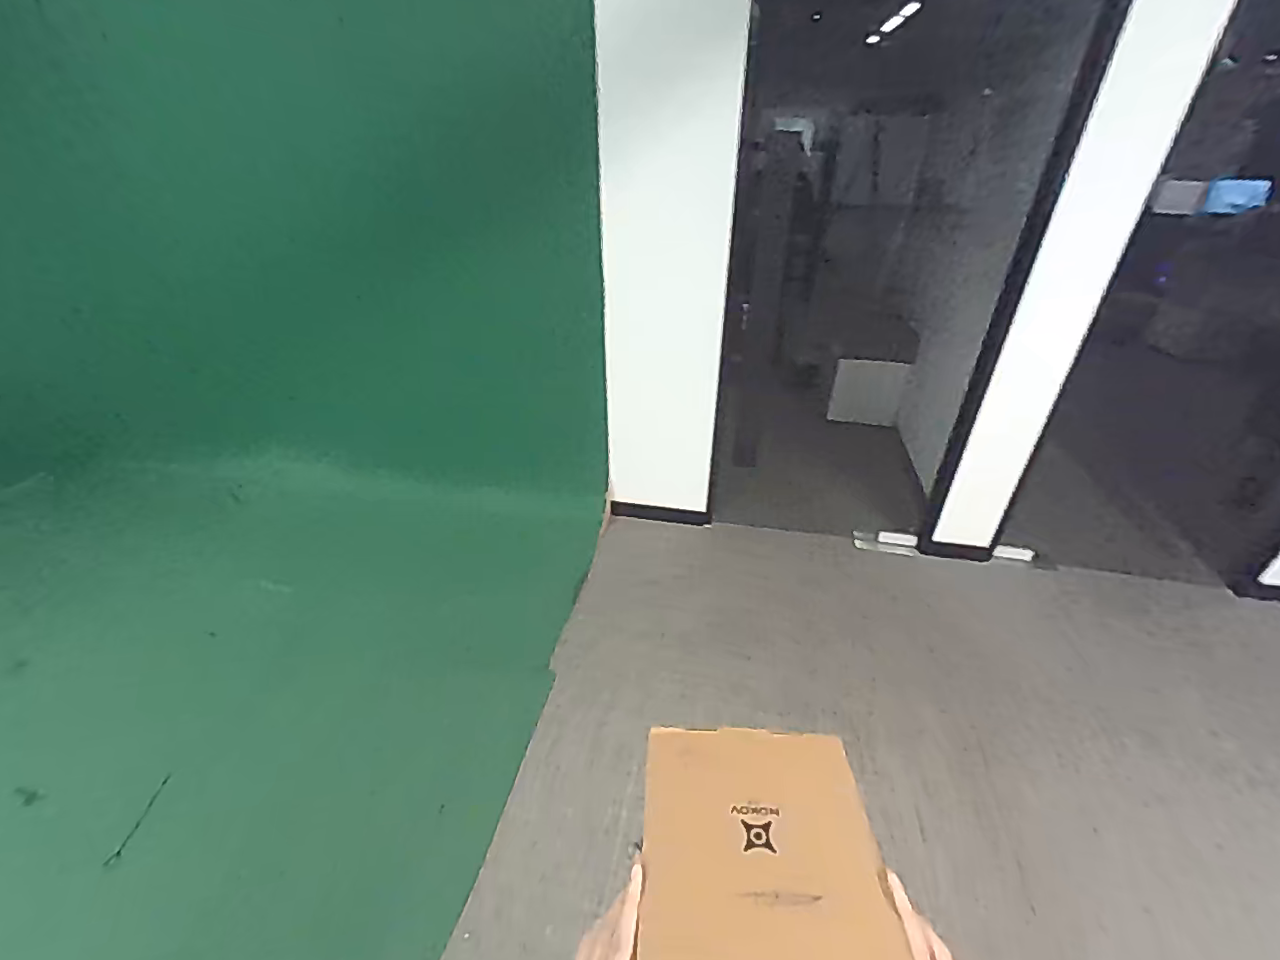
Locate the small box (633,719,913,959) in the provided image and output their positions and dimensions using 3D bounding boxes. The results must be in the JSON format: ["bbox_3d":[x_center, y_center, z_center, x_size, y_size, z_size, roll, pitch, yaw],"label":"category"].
[{"bbox_3d":[0.081,0.319,0.417,0.168,0.176,0.179,2,25,3],"label":"small box"}]
